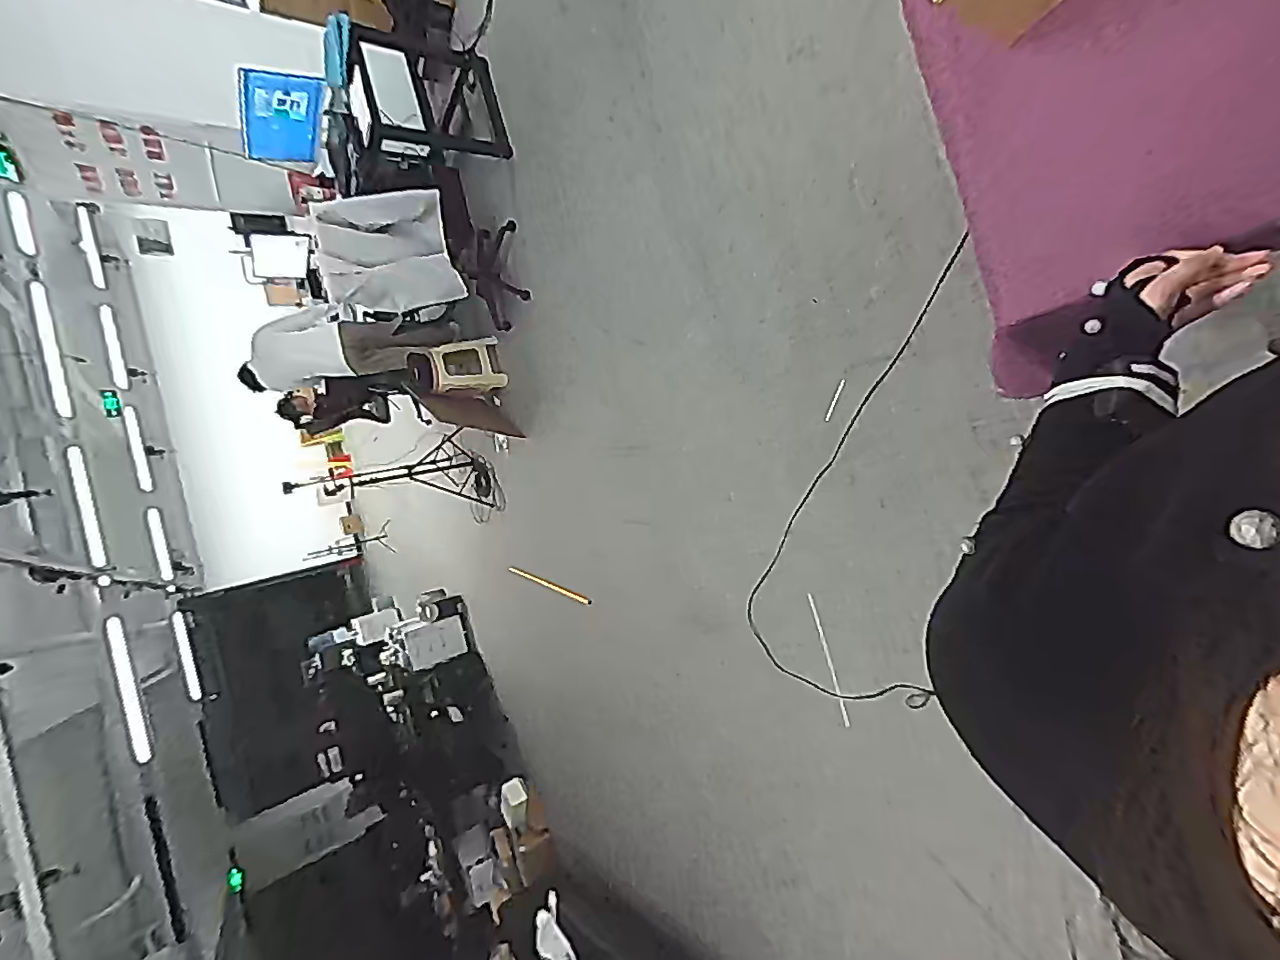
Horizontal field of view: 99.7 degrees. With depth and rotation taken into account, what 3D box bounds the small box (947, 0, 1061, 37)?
[{"bbox_3d":[0.371,-0.583,0.518,0.168,0.176,0.179,-26,80,55],"label":"small box"}]
